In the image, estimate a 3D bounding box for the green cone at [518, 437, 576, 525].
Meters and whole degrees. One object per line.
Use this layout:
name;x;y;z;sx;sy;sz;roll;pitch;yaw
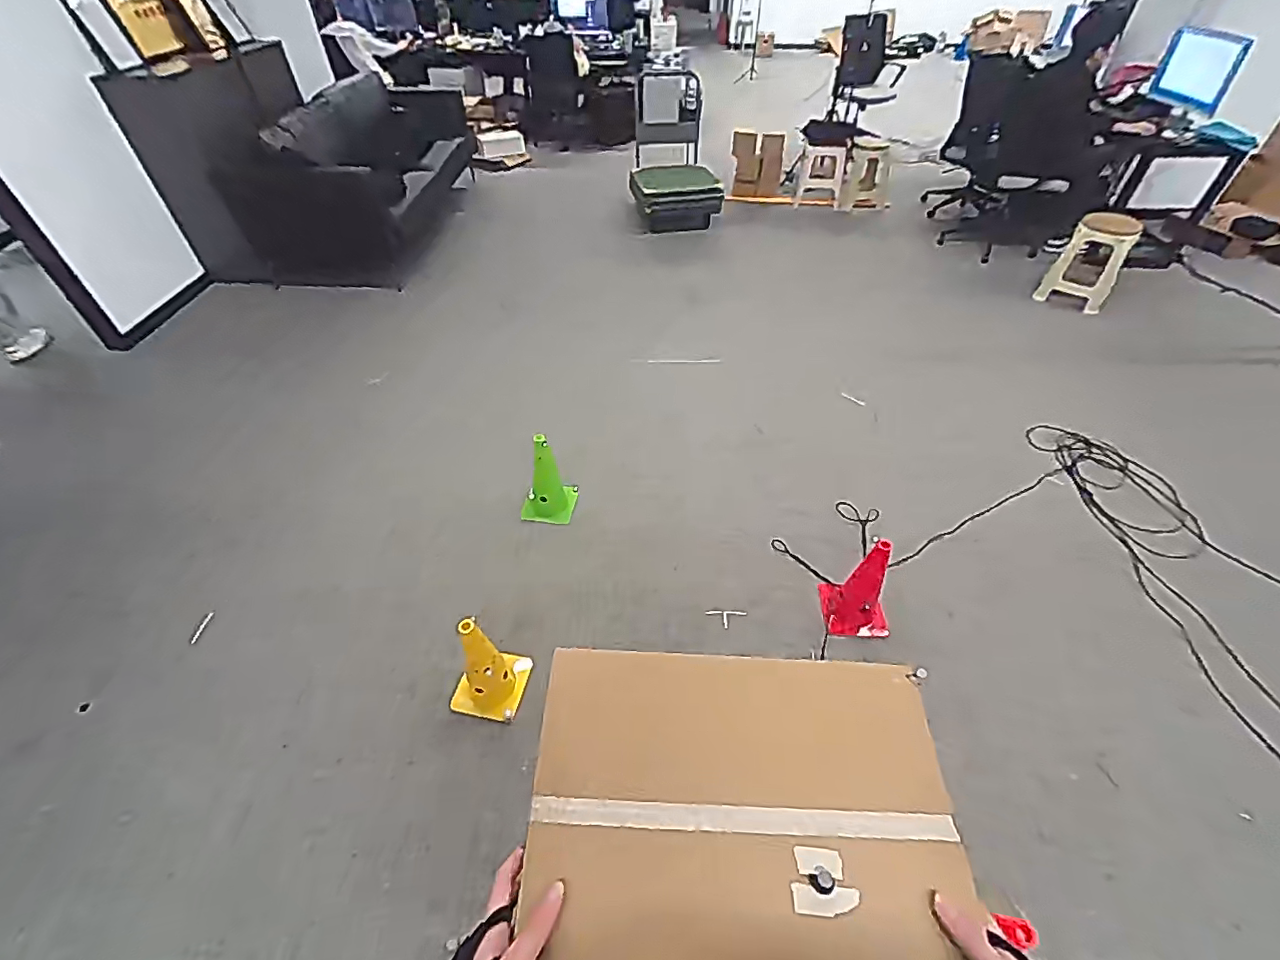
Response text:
green cone;-0.375;-0.022;2.048;0.200;0.368;0.202;5;47;6

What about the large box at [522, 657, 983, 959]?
large box;0.094;0.420;0.641;0.408;0.320;0.320;2;53;0
